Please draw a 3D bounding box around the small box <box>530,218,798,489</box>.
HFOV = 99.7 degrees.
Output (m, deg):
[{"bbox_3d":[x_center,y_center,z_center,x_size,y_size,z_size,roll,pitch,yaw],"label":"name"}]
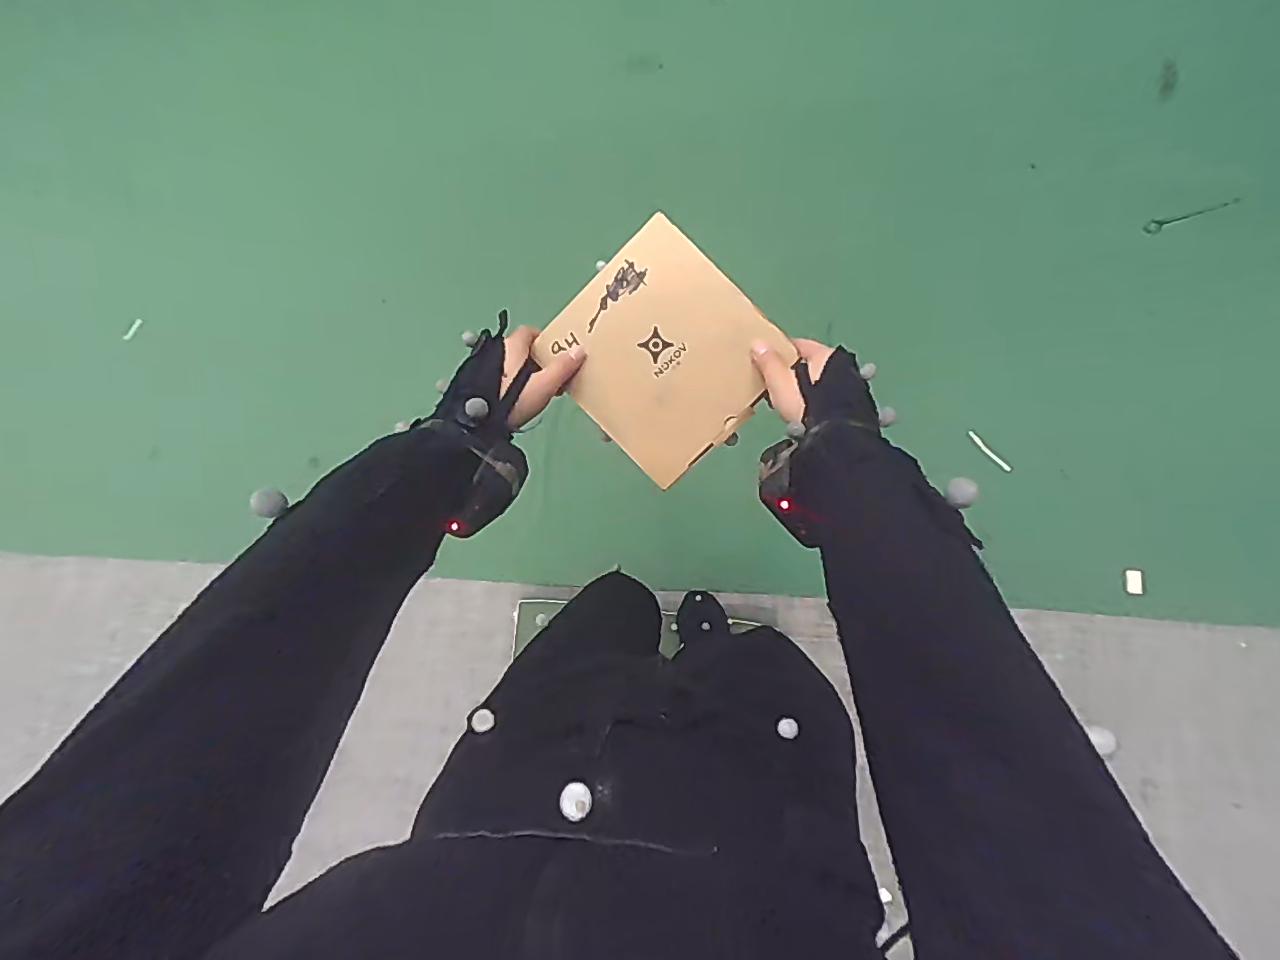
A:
[{"bbox_3d":[0.025,-0.113,0.545,0.168,0.176,0.179,-44,90,5],"label":"small box"}]
